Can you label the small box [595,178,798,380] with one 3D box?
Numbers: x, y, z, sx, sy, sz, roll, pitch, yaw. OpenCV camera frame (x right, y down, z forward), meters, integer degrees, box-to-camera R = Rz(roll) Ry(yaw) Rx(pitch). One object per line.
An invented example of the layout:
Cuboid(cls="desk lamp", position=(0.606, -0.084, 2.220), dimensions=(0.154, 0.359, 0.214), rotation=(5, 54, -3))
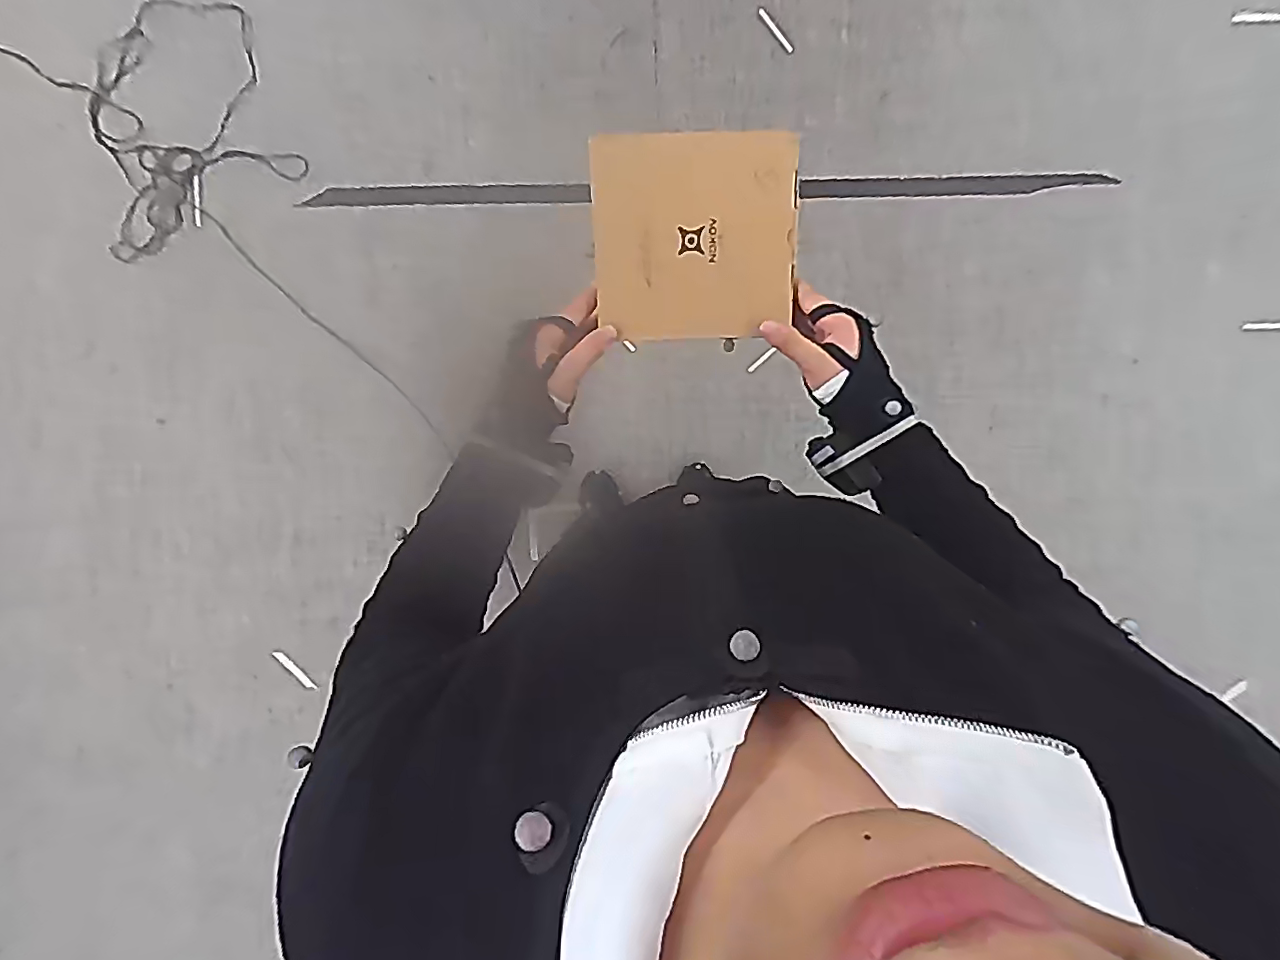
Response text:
Cuboid(cls="small box", position=(0.048, -0.195, 0.553), dimensions=(0.179, 0.176, 0.168), rotation=(-3, 105, 0))
